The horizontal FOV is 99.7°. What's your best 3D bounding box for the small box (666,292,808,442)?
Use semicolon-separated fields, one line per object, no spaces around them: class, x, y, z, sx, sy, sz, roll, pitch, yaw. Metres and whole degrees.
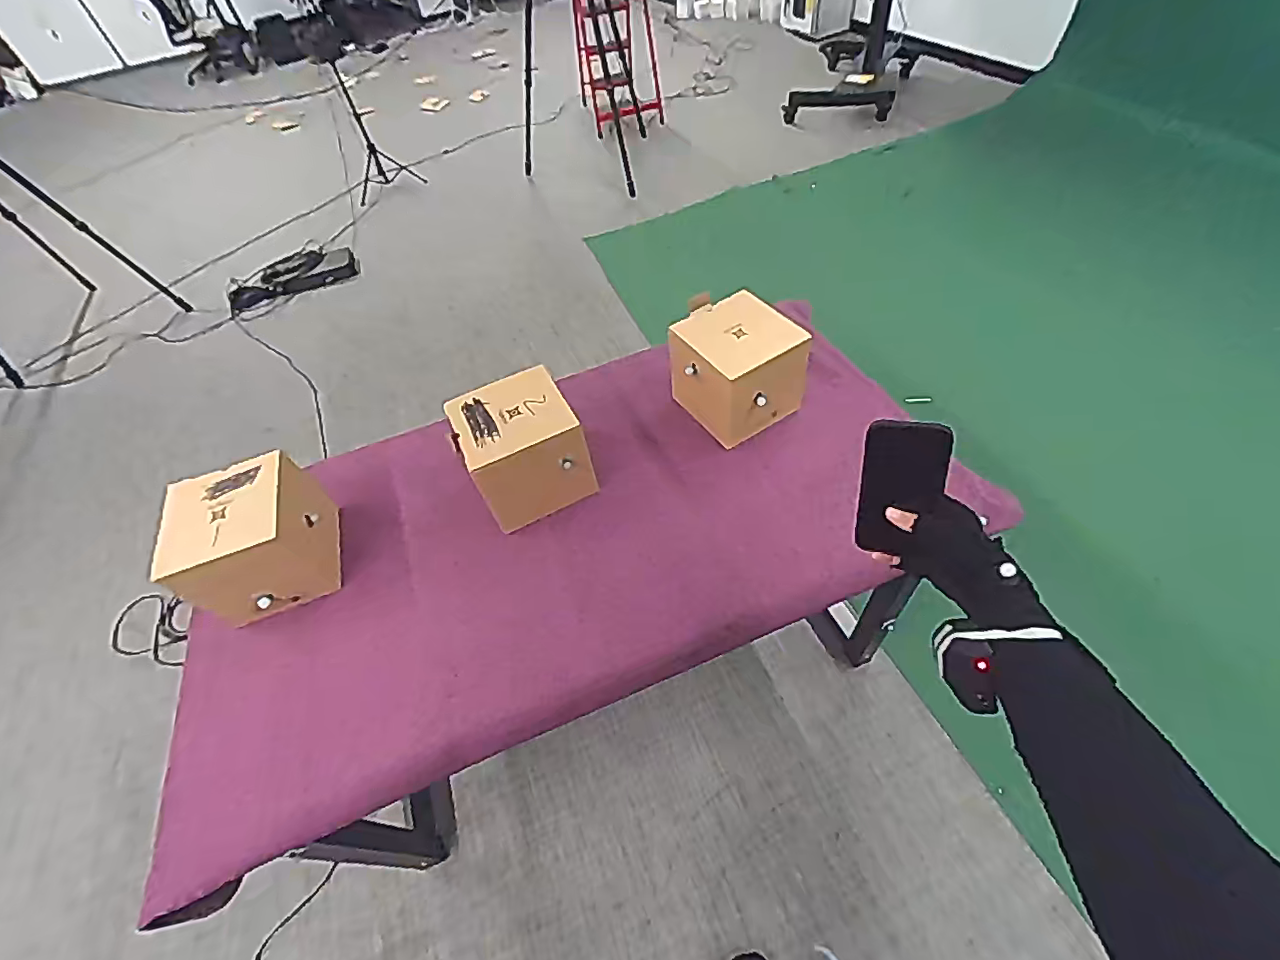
small box;0.166;-0.189;0.946;0.168;0.176;0.179;-30;54;-14

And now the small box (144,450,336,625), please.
small box;-0.590;0.090;0.826;0.168;0.176;0.179;-20;54;-8
